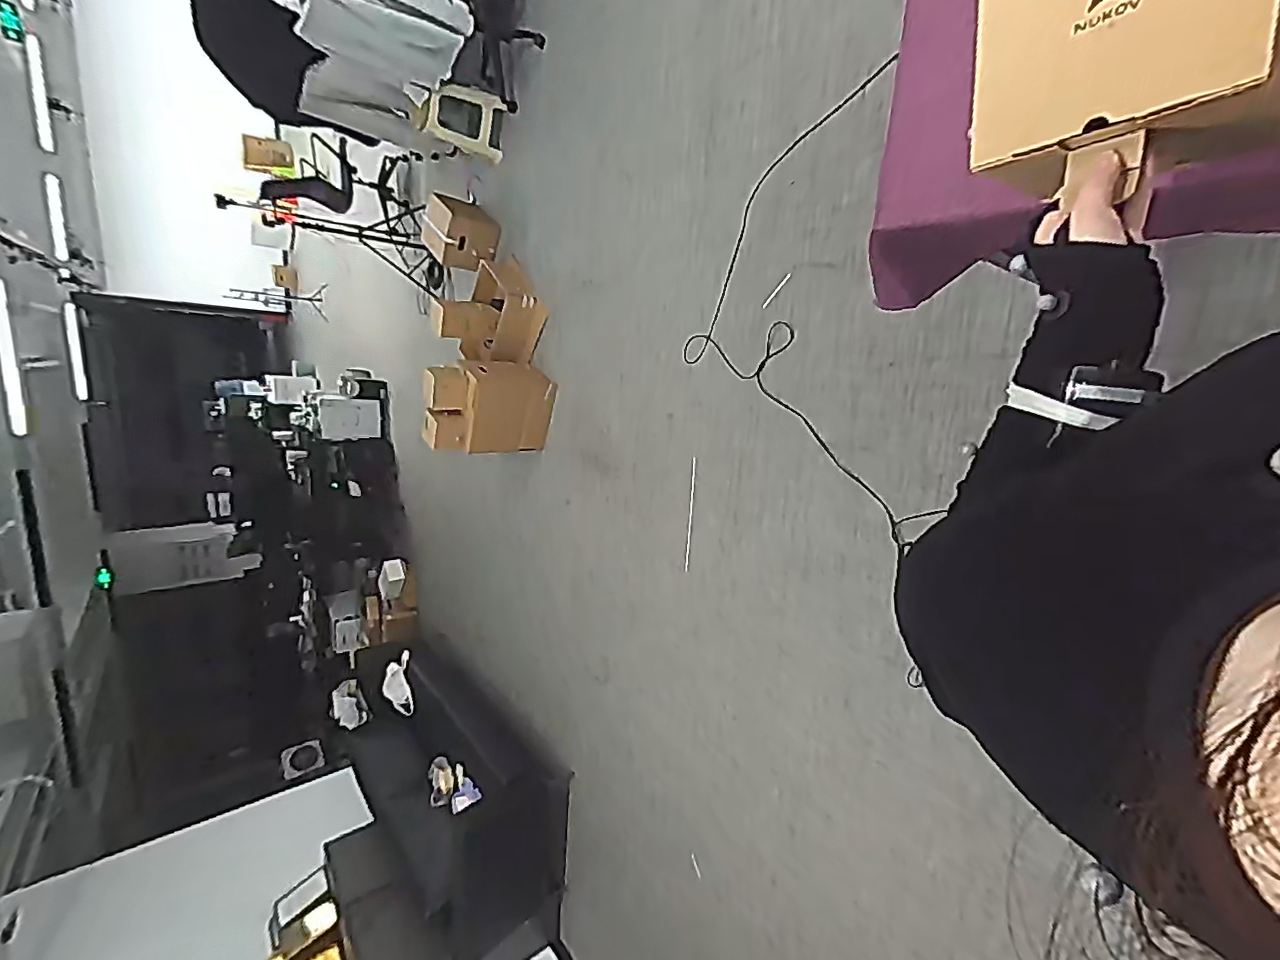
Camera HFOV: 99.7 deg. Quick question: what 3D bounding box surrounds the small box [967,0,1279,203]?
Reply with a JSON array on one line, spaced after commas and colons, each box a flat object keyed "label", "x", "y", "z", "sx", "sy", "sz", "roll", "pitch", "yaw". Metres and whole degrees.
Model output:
[{"label": "small box", "x": 0.391, "y": -0.348, "z": 0.434, "sx": 0.168, "sy": 0.176, "sz": 0.179, "roll": 10, "pitch": 108, "yaw": 52}]
